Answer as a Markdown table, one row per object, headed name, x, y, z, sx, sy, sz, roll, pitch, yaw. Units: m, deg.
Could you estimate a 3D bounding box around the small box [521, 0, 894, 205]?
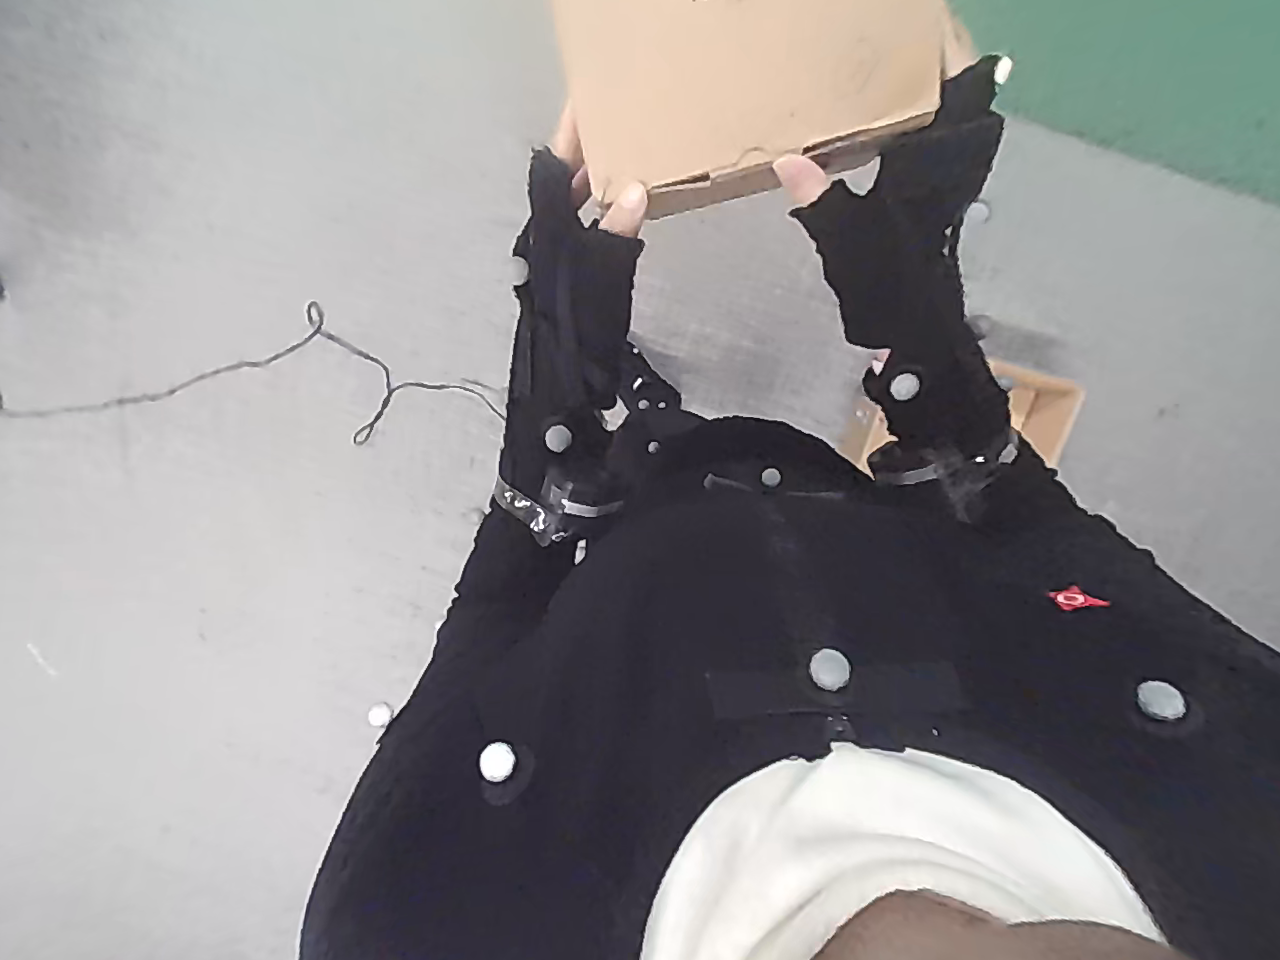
| name | x | y | z | sx | sy | sz | roll | pitch | yaw |
| --- | --- | --- | --- | --- | --- | --- | --- | --- | --- |
| small box | 0.036 | -0.270 | 0.309 | 0.168 | 0.176 | 0.179 | -9 | 111 | 14 |
